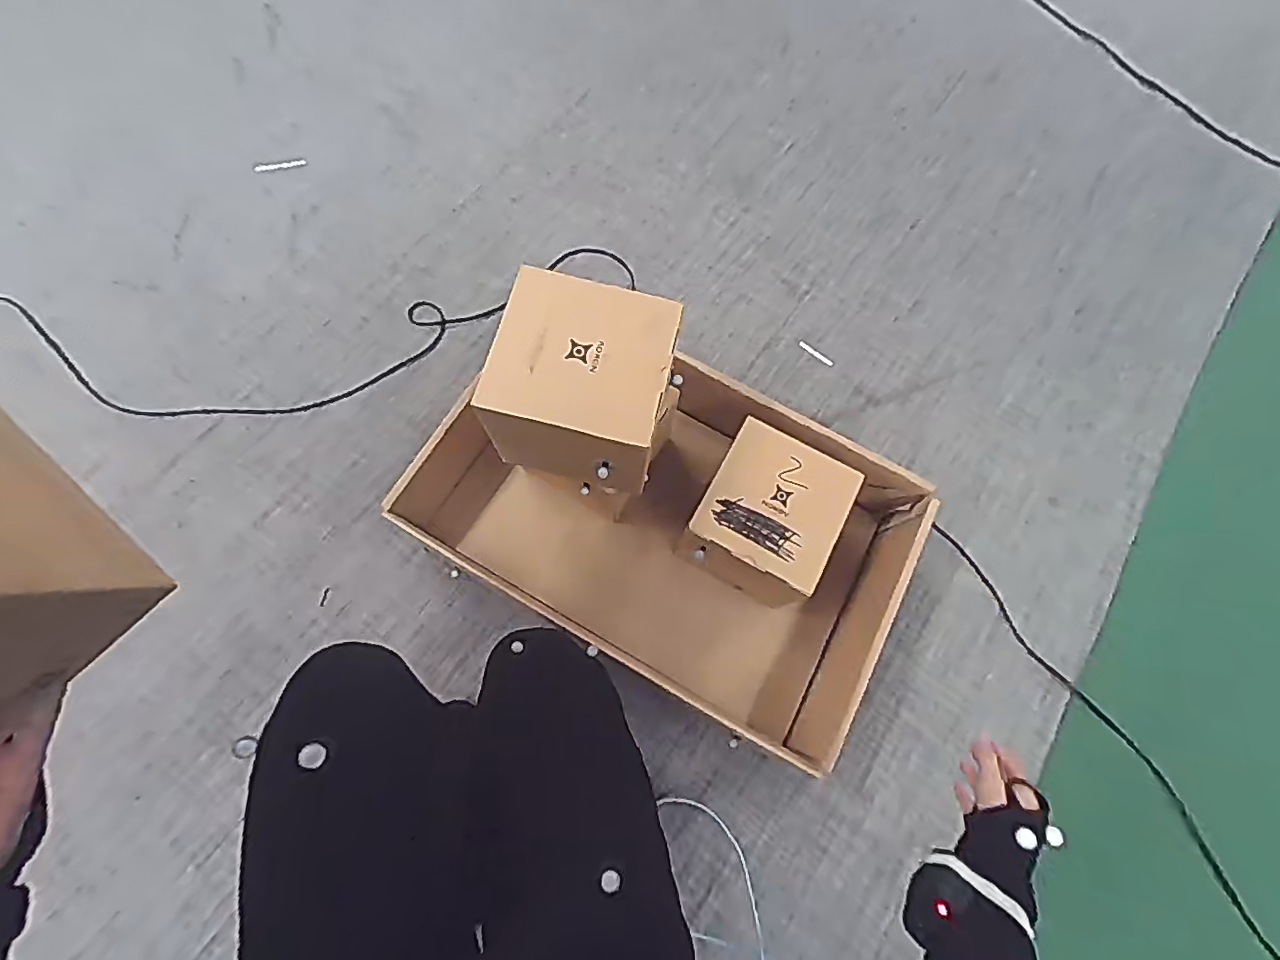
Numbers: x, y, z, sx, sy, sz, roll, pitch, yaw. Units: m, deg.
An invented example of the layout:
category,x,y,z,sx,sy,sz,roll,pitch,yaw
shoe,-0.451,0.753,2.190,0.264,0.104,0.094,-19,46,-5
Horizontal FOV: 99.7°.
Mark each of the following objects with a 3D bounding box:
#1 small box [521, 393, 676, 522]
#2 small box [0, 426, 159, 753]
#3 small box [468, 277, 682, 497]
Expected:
category,x,y,z,sx,sy,sz,roll,pitch,yaw
small box,-0.072,-0.059,0.768,0.179,0.176,0.168,30,73,5
small box,-0.361,0.049,0.202,0.179,0.176,0.168,45,80,1
small box,-0.065,-0.090,0.607,0.179,0.176,0.168,14,73,1
